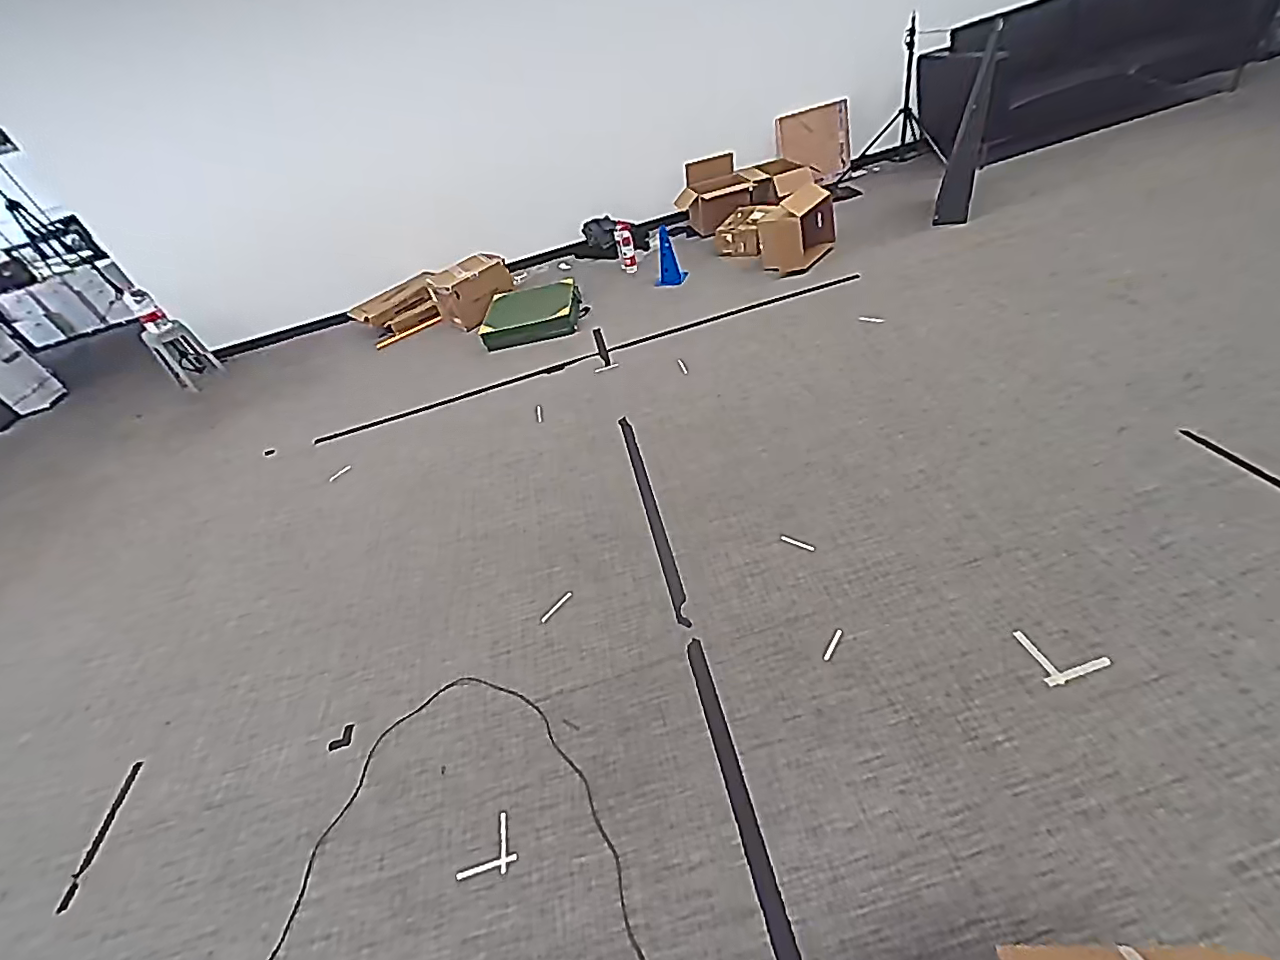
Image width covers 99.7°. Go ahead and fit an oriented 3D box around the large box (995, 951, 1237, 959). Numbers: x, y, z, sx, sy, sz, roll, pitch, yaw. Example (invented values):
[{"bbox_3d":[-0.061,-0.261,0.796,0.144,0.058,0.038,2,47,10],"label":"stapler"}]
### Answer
[{"bbox_3d":[0.599,0.739,0.487,0.320,0.408,0.320,-9,81,11],"label":"large box"}]
